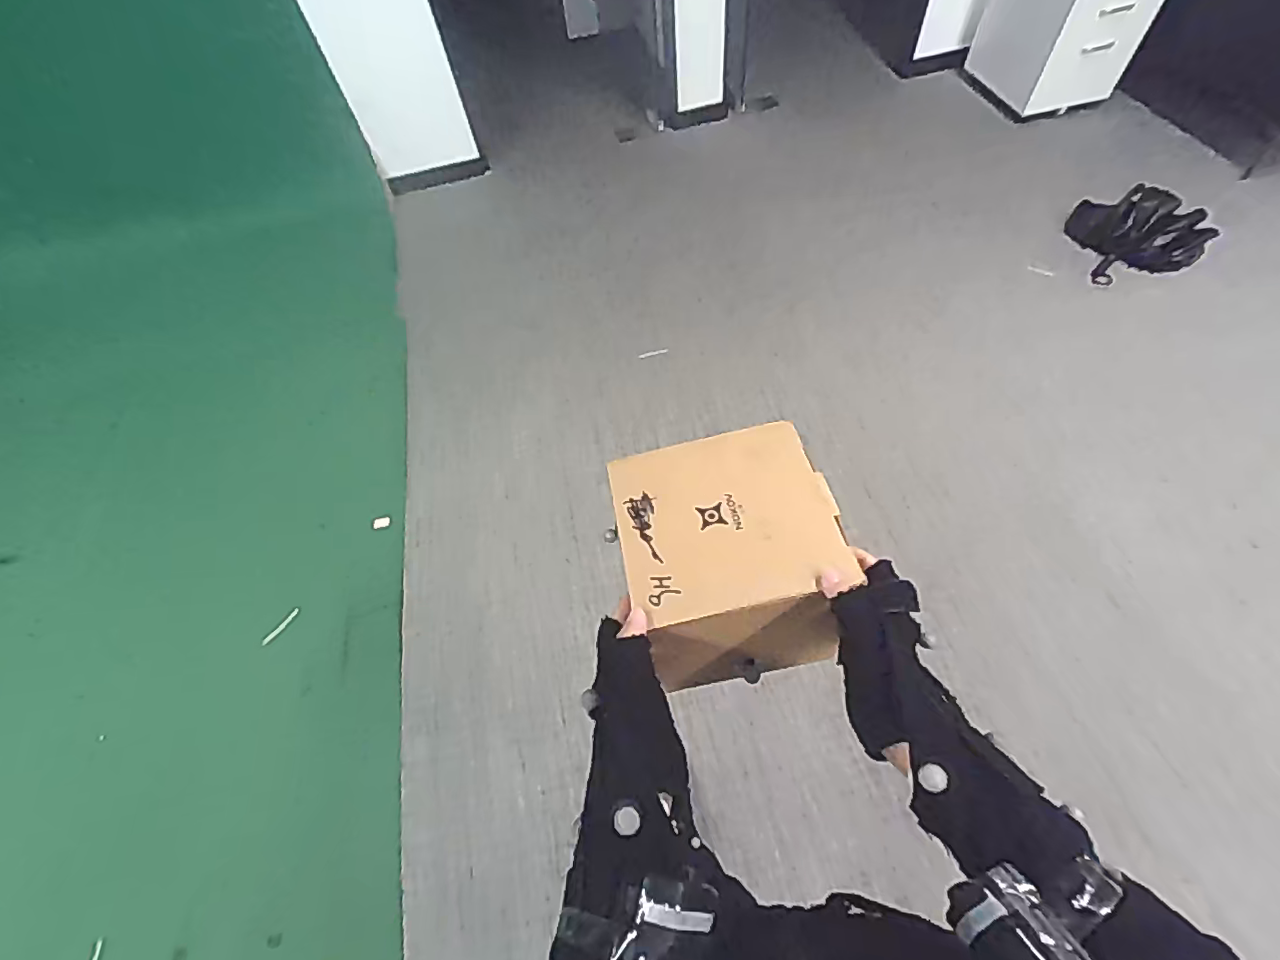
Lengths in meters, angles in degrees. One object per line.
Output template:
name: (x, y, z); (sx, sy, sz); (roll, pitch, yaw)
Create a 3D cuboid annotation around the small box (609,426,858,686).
small box: (0.076, 0.077, 0.514); (0.179, 0.176, 0.168); (-12, 51, 0)
